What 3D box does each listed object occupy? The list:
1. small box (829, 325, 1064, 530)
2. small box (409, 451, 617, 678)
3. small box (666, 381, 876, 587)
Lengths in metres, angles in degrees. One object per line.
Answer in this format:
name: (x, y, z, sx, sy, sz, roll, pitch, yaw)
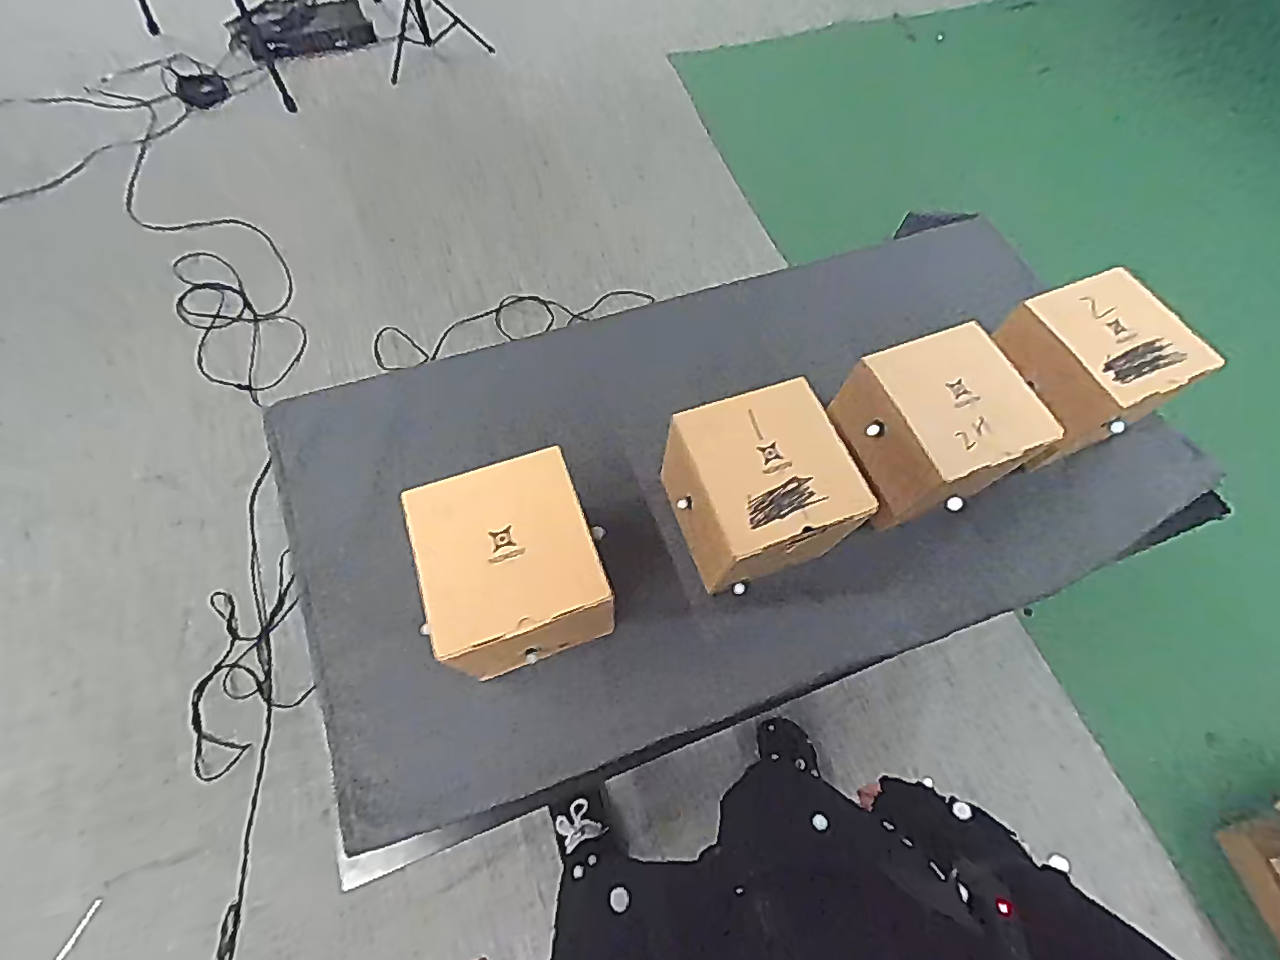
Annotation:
small box: (0.365, -0.061, 0.691, 0.168, 0.176, 0.179, -19, 68, -10)
small box: (-0.132, 0.099, 0.596, 0.168, 0.176, 0.179, -18, 67, -11)
small box: (0.139, 0.016, 0.647, 0.168, 0.176, 0.179, -17, 67, -10)
